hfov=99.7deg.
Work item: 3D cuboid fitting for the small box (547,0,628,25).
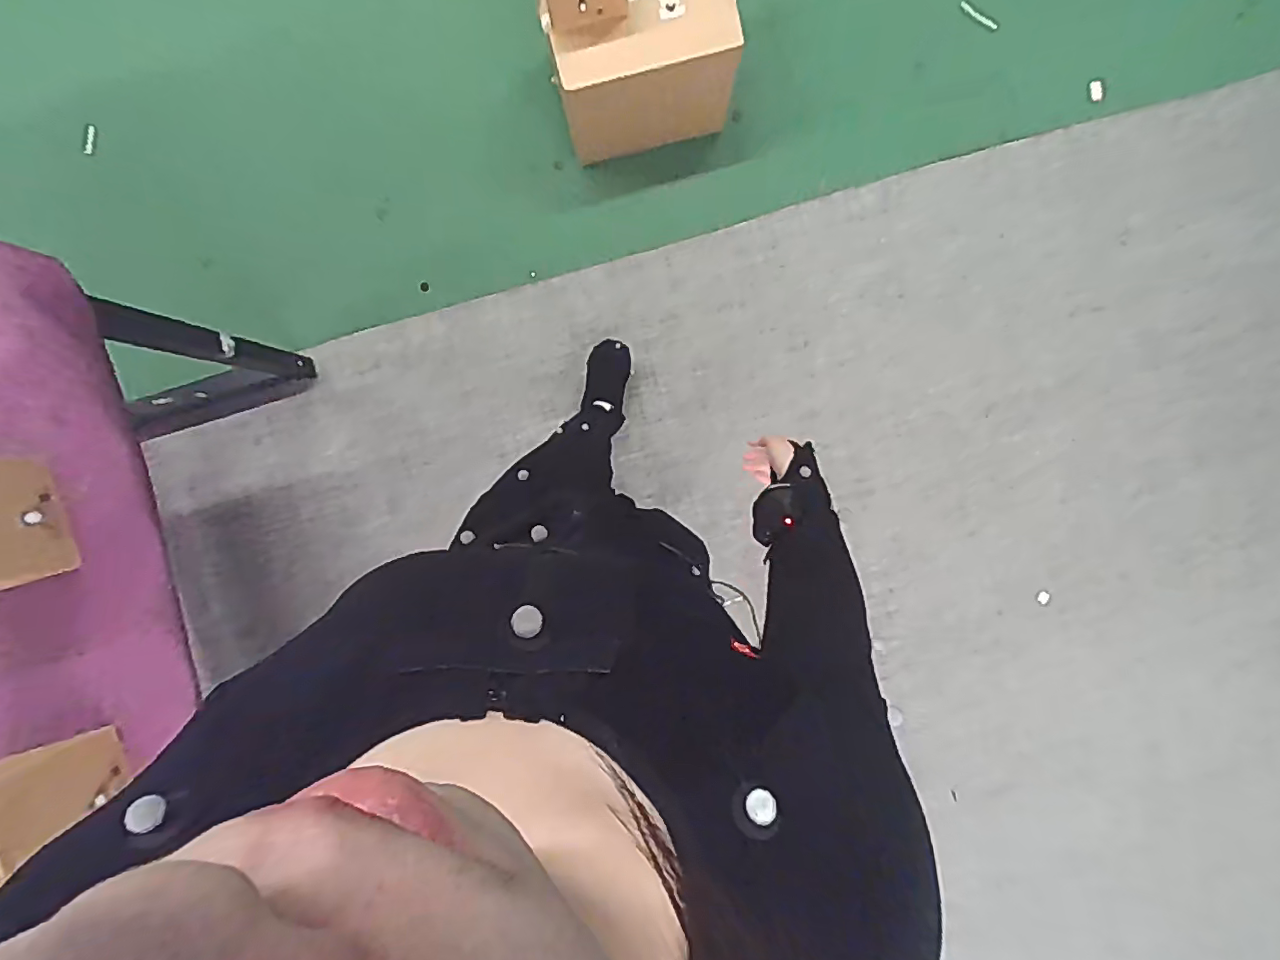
[{"bbox_3d":[-0.121,-1.043,1.041,0.168,0.176,0.179,-14,92,0],"label":"small box"}]

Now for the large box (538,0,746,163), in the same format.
[{"bbox_3d":[-0.005,-1.031,1.285,0.408,0.320,0.320,-14,93,0],"label":"large box"}]

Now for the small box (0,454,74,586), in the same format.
[{"bbox_3d":[-0.893,0.067,0.676,0.179,0.176,0.168,-16,93,1],"label":"small box"}]

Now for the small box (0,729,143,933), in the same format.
[{"bbox_3d":[-0.813,0.454,0.693,0.179,0.176,0.168,-17,93,2],"label":"small box"}]
